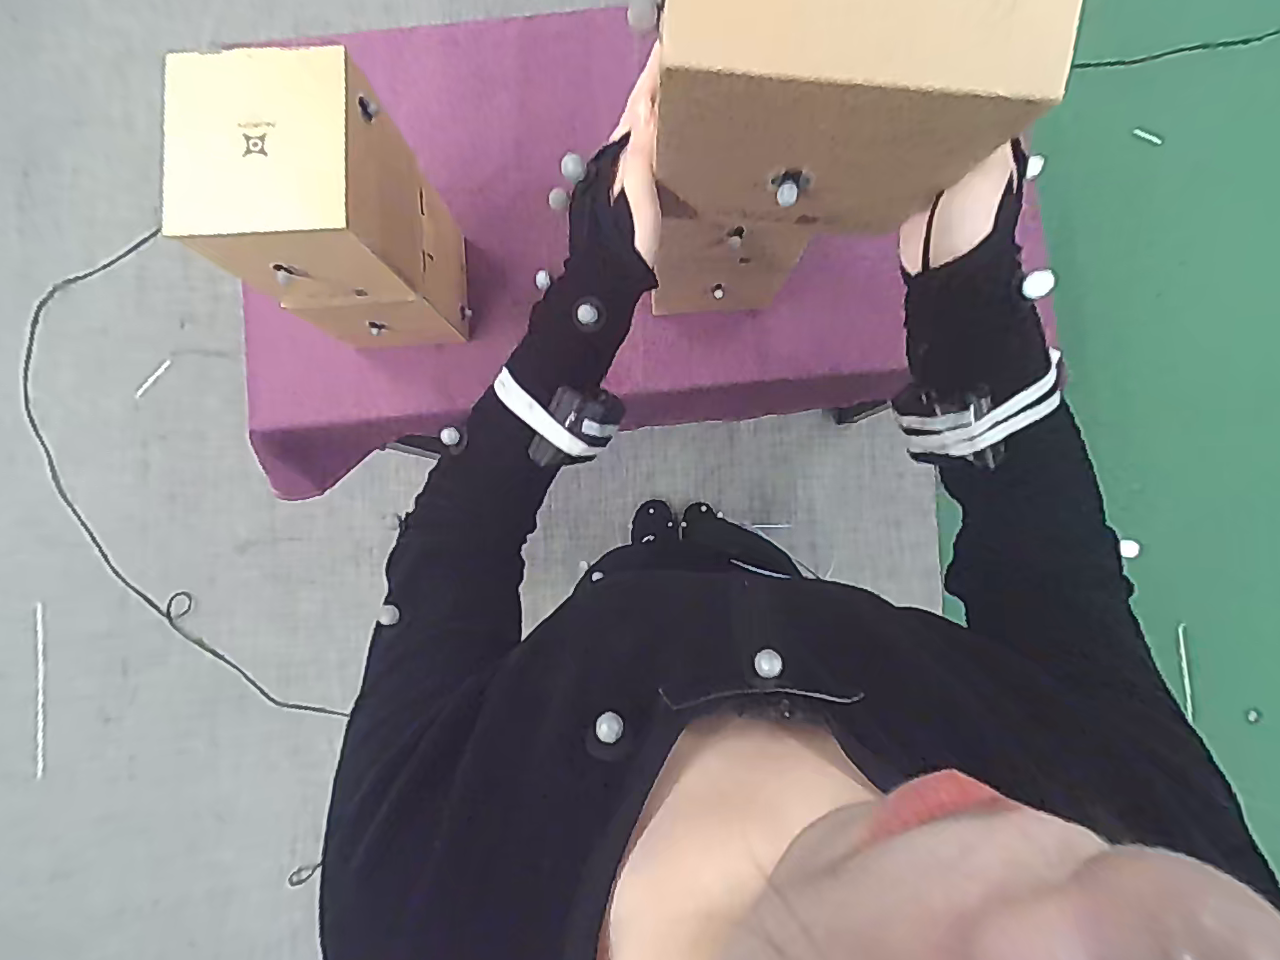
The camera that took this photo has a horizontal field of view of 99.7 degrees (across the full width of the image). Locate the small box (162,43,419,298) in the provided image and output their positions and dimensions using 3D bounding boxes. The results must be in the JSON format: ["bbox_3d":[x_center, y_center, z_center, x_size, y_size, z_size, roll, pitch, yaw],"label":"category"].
[{"bbox_3d":[-0.344,-0.301,0.565,0.168,0.176,0.179,-2,85,0],"label":"small box"}]

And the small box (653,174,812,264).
[{"bbox_3d":[0.099,-0.343,0.566,0.168,0.176,0.179,1,87,0],"label":"small box"}]

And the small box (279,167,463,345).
[{"bbox_3d":[-0.347,-0.289,0.727,0.179,0.176,0.168,-4,86,0],"label":"small box"}]

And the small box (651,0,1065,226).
[{"bbox_3d":[0.096,-0.258,0.292,0.168,0.176,0.179,6,96,-1],"label":"small box"}]
